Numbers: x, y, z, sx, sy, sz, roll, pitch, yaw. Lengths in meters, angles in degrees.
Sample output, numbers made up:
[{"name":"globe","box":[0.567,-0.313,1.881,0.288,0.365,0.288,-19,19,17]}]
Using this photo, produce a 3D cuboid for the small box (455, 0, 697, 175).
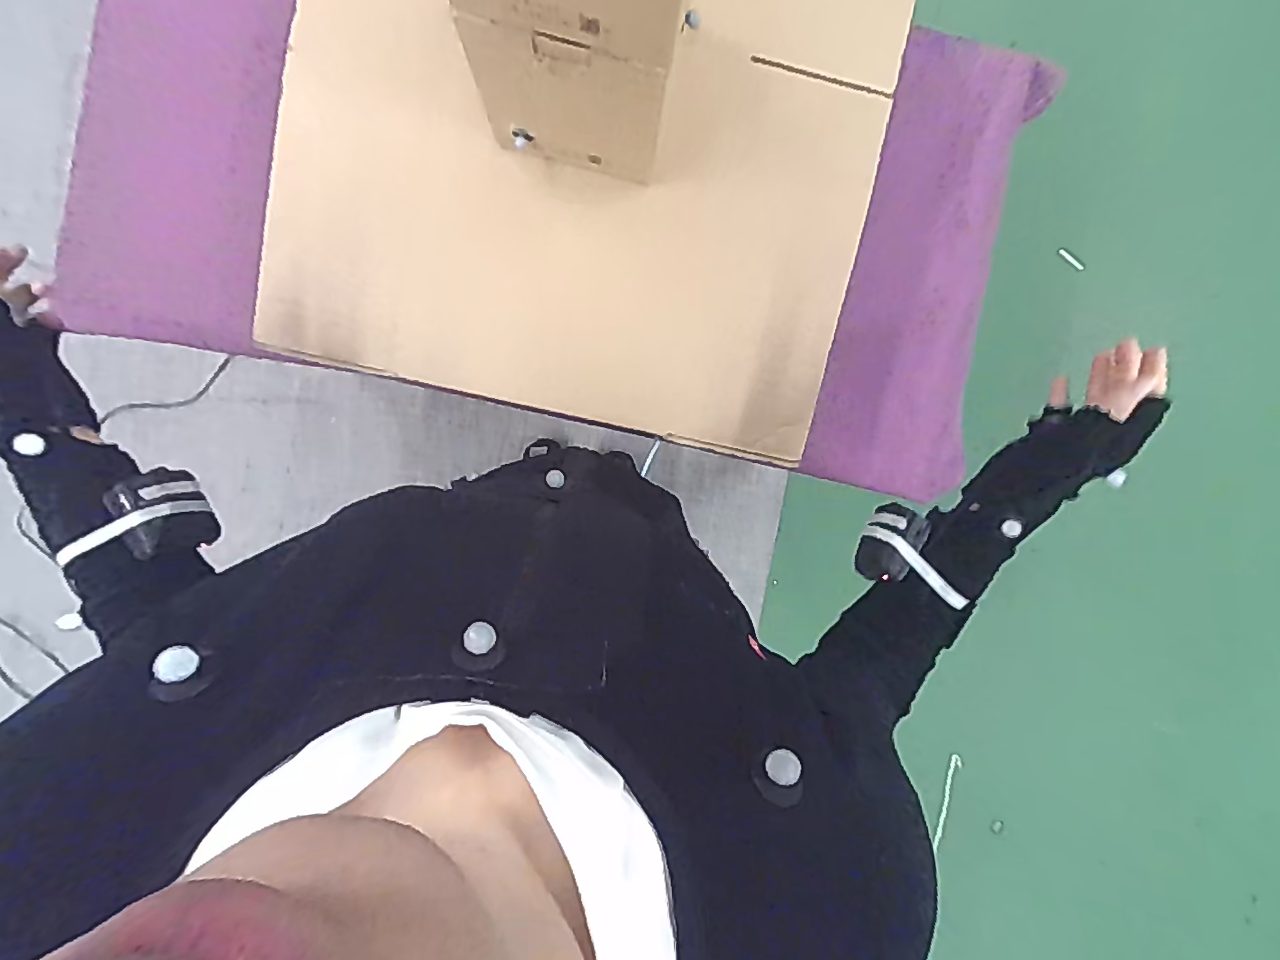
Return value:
[{"name":"small box","box":[-0.041,-0.406,0.472,0.168,0.176,0.179,13,91,-4]}]
